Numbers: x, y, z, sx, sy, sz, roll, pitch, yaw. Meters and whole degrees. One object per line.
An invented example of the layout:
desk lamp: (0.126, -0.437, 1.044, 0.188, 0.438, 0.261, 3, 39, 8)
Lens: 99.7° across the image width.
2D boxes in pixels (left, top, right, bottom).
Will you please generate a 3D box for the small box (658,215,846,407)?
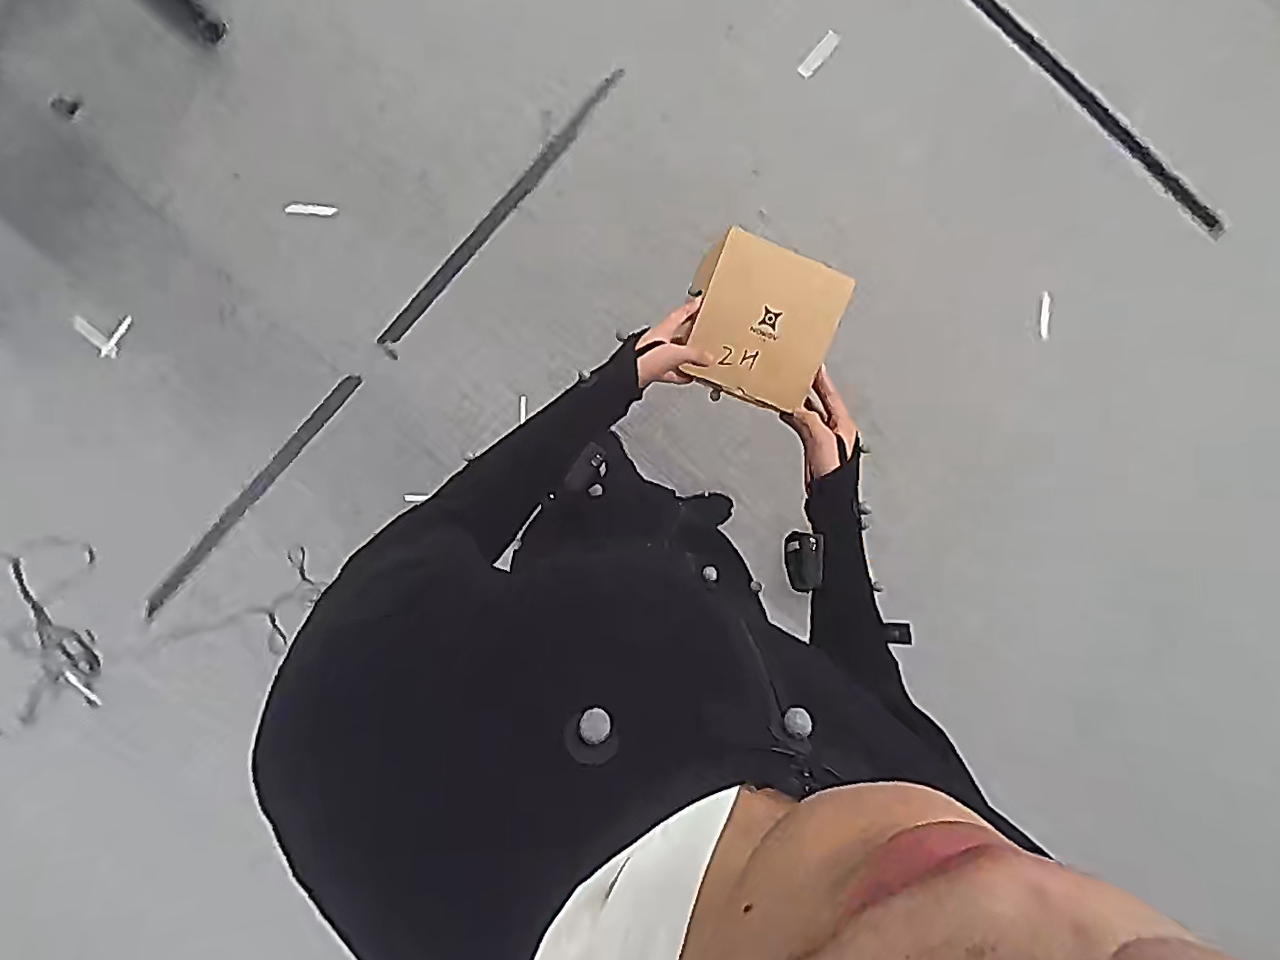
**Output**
small box: (0.130, -0.210, 0.708, 0.168, 0.176, 0.179, 18, 100, -8)

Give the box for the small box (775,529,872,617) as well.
small box: (0.524, 0.261, 1.569, 0.179, 0.176, 0.168, 42, 90, -2)
